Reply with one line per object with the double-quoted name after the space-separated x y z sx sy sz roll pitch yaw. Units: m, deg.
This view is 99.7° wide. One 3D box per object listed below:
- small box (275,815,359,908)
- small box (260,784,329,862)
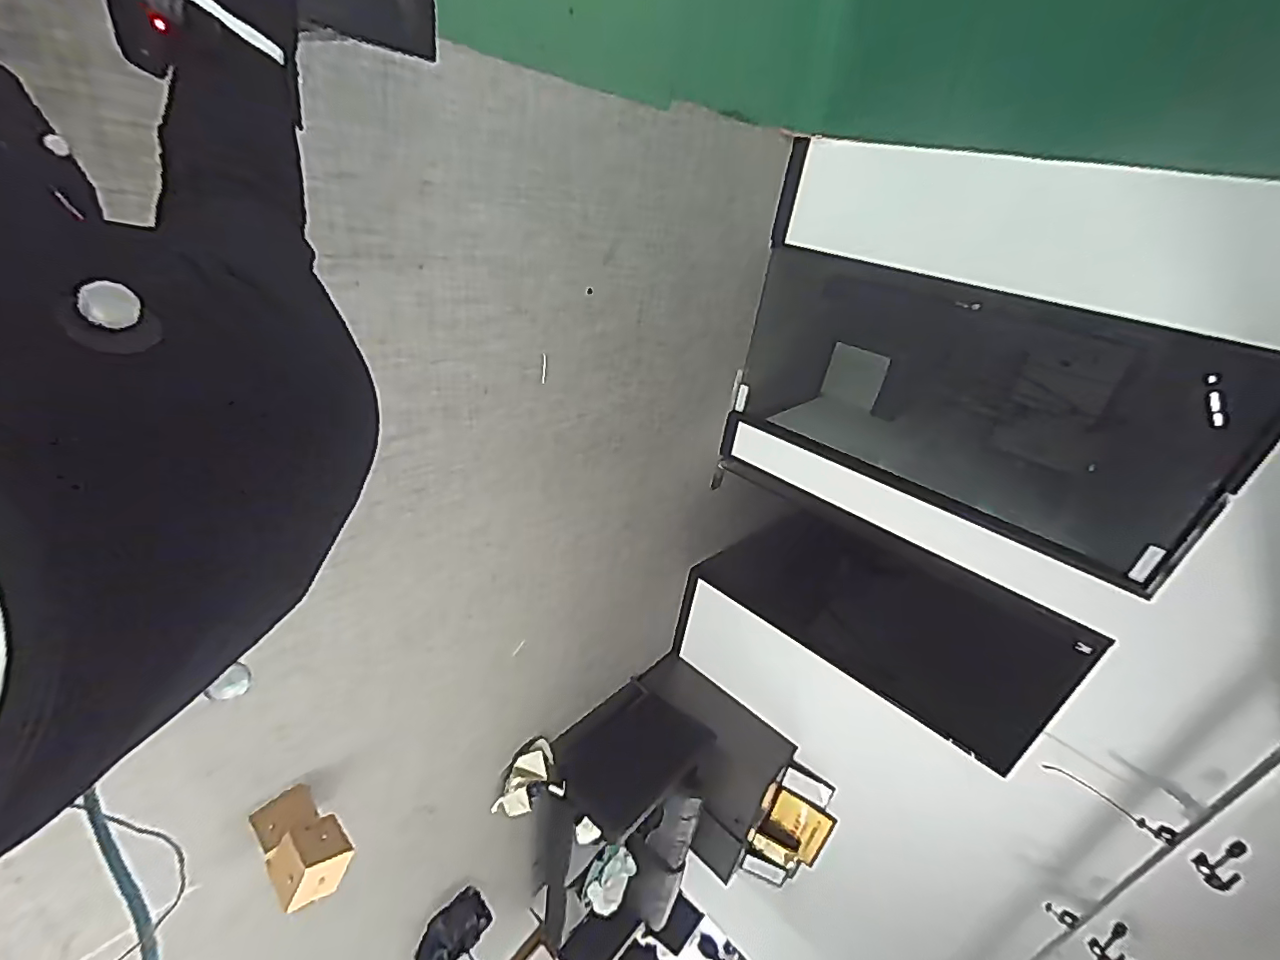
-1.108 1.289 1.848 0.168 0.176 0.179 19 99 -58 "small box"
-1.224 1.242 1.930 0.179 0.176 0.168 -29 137 -41 "small box"
